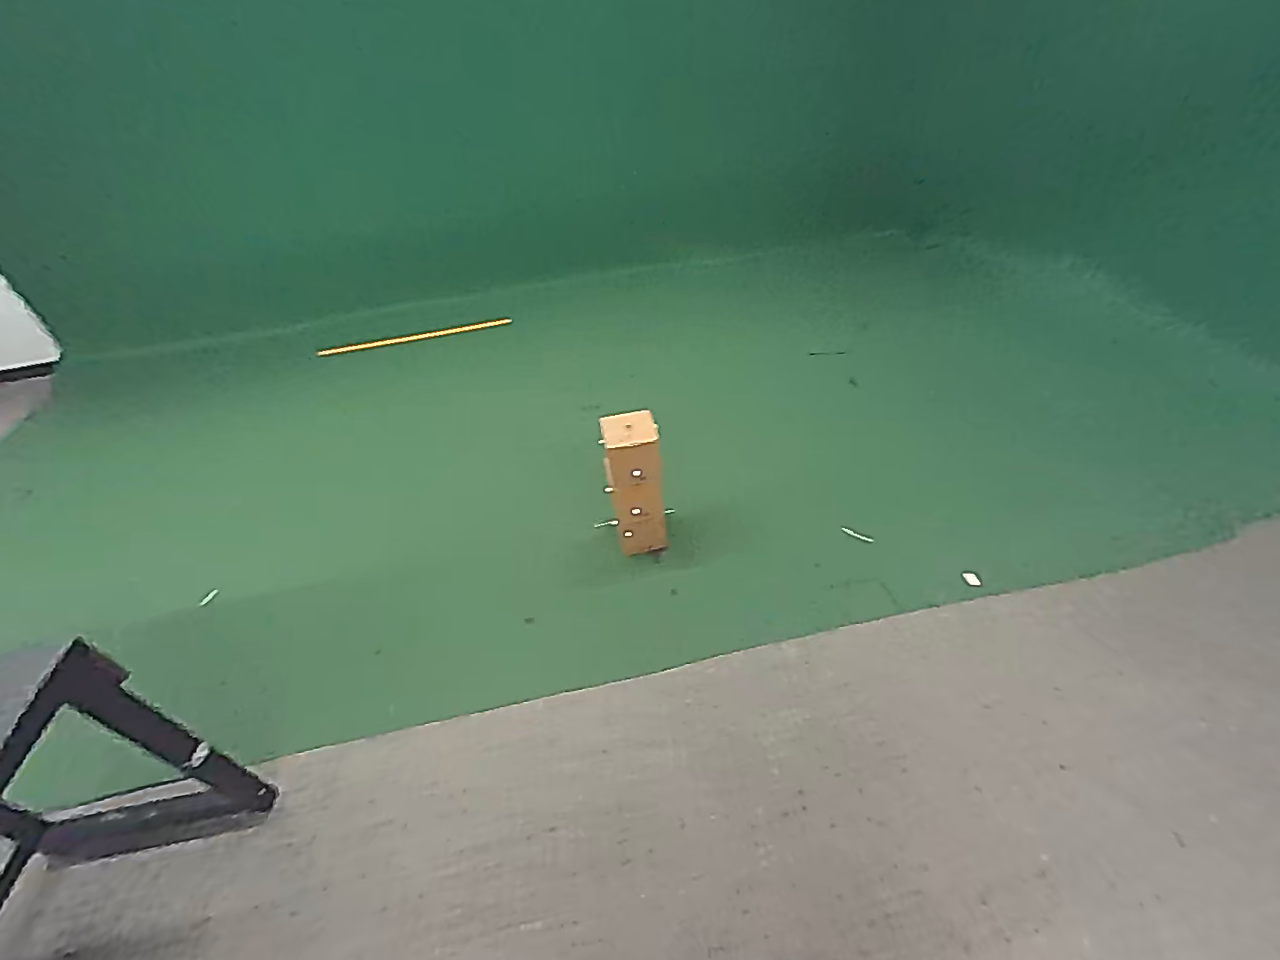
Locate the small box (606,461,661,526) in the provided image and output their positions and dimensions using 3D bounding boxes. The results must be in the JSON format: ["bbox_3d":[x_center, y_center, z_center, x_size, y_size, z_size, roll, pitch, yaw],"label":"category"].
[{"bbox_3d":[-0.023,0.035,1.880,0.168,0.176,0.179,-10,41,-6],"label":"small box"}]

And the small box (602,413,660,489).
[{"bbox_3d":[-0.030,-0.094,1.777,0.168,0.176,0.179,-9,41,-4],"label":"small box"}]
